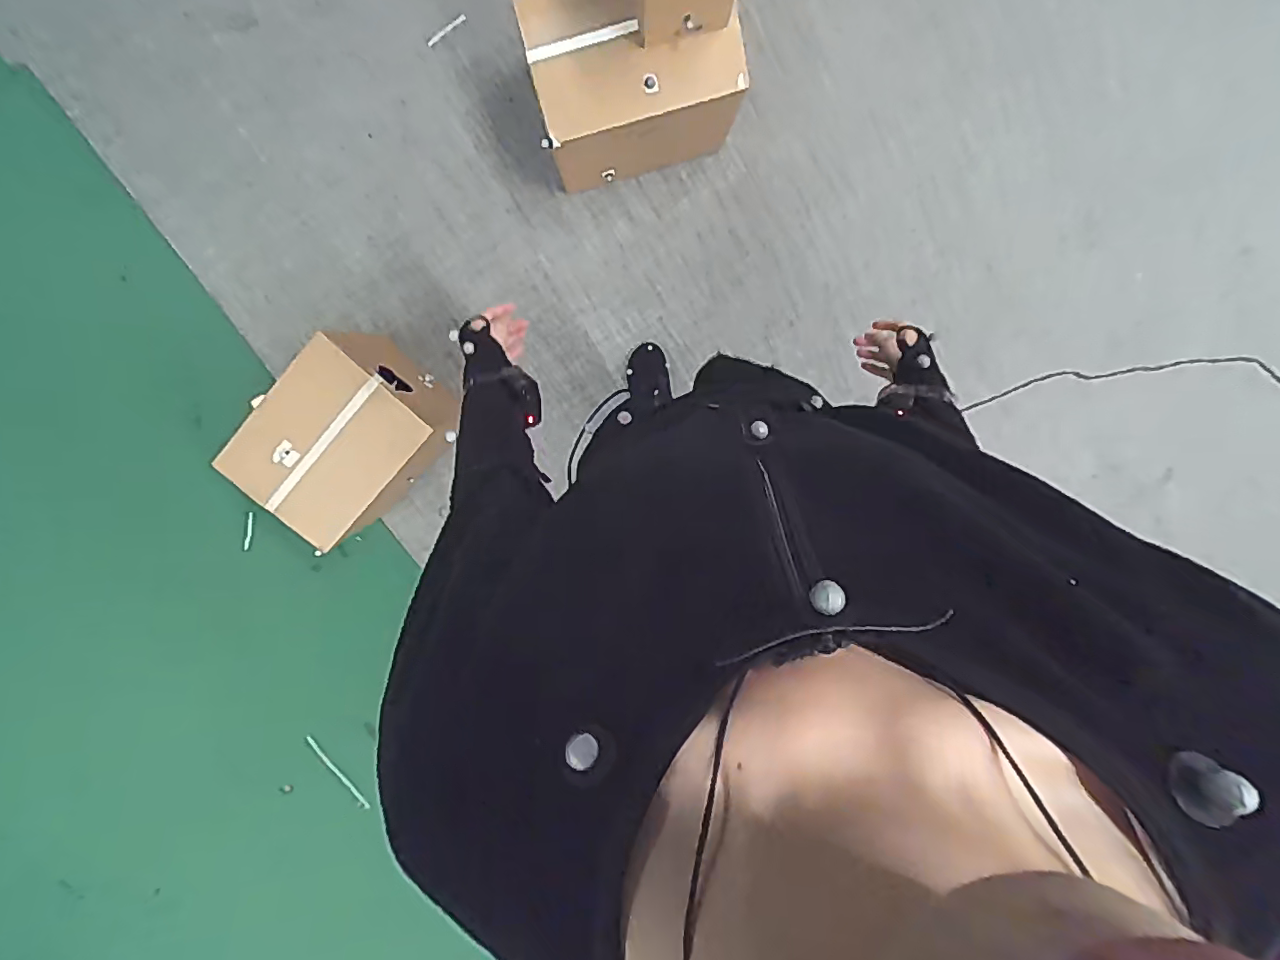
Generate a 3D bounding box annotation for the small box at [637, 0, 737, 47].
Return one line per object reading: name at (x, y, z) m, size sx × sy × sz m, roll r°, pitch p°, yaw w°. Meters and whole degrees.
small box at (0.071, -0.892, 0.914) m, size 0.168 × 0.176 × 0.179 m, roll -13°, pitch 101°, yaw 3°

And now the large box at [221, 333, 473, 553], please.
large box at (-0.687, -0.107, 1.331) m, size 0.320 × 0.320 × 0.408 m, roll 43°, pitch 100°, yaw -8°
